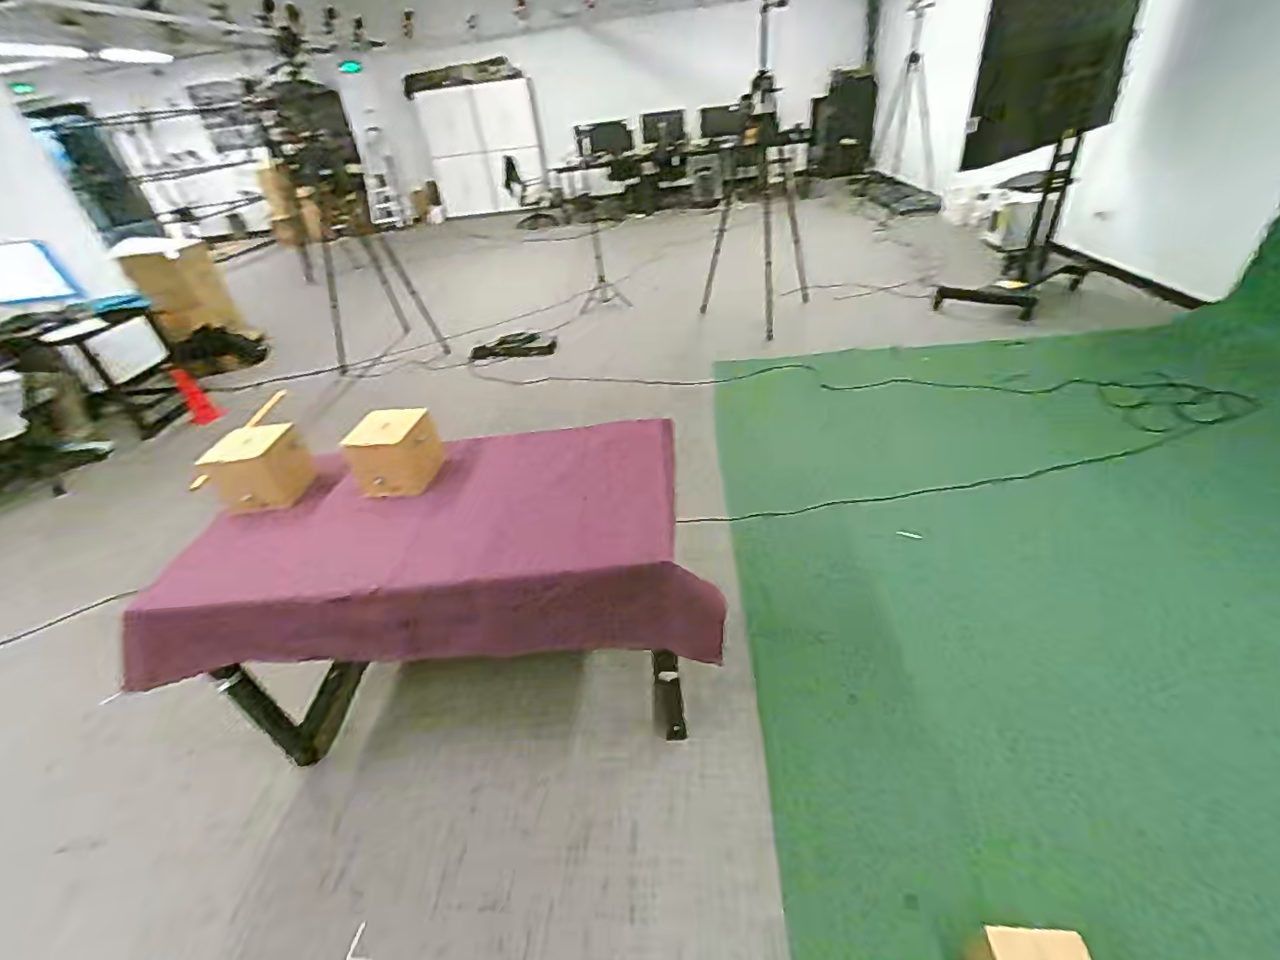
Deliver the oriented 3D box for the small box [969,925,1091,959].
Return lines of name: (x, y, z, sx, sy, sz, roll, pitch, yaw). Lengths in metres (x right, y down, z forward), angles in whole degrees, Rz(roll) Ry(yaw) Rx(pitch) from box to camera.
small box: (0.742, 0.965, 0.999, 0.168, 0.176, 0.179, -2, 35, 8)

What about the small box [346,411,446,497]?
small box: (-0.651, -0.073, 1.473, 0.168, 0.176, 0.179, -1, 37, 10)

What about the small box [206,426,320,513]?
small box: (-1.016, -0.029, 1.481, 0.168, 0.176, 0.179, -6, 36, 4)
